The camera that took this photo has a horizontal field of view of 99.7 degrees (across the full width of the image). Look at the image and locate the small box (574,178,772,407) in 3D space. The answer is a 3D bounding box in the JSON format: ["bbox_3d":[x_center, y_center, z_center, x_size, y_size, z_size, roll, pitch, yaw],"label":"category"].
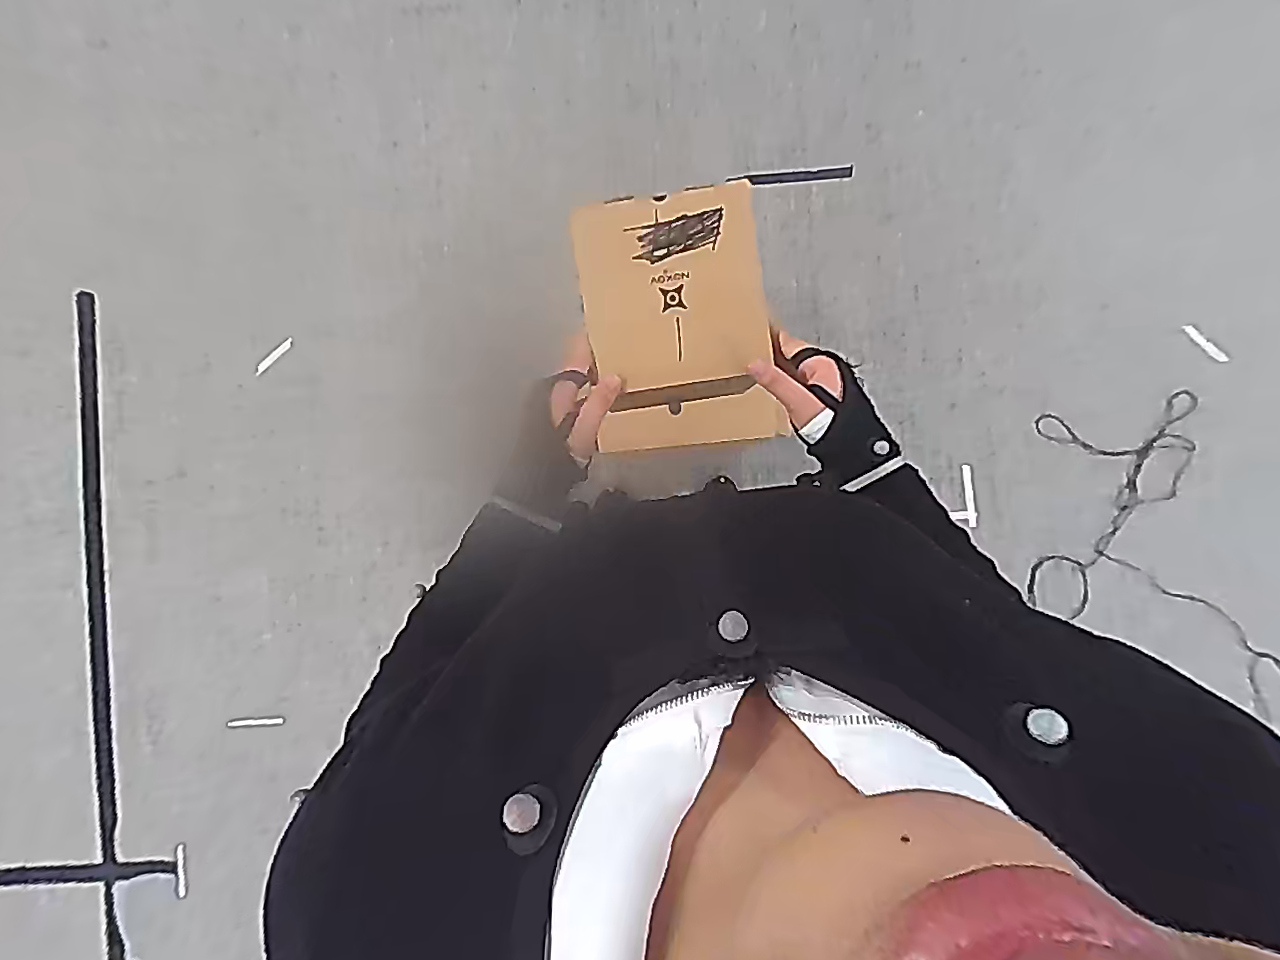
[{"bbox_3d":[0.030,-0.181,0.572,0.168,0.176,0.179,-8,92,1],"label":"small box"}]
